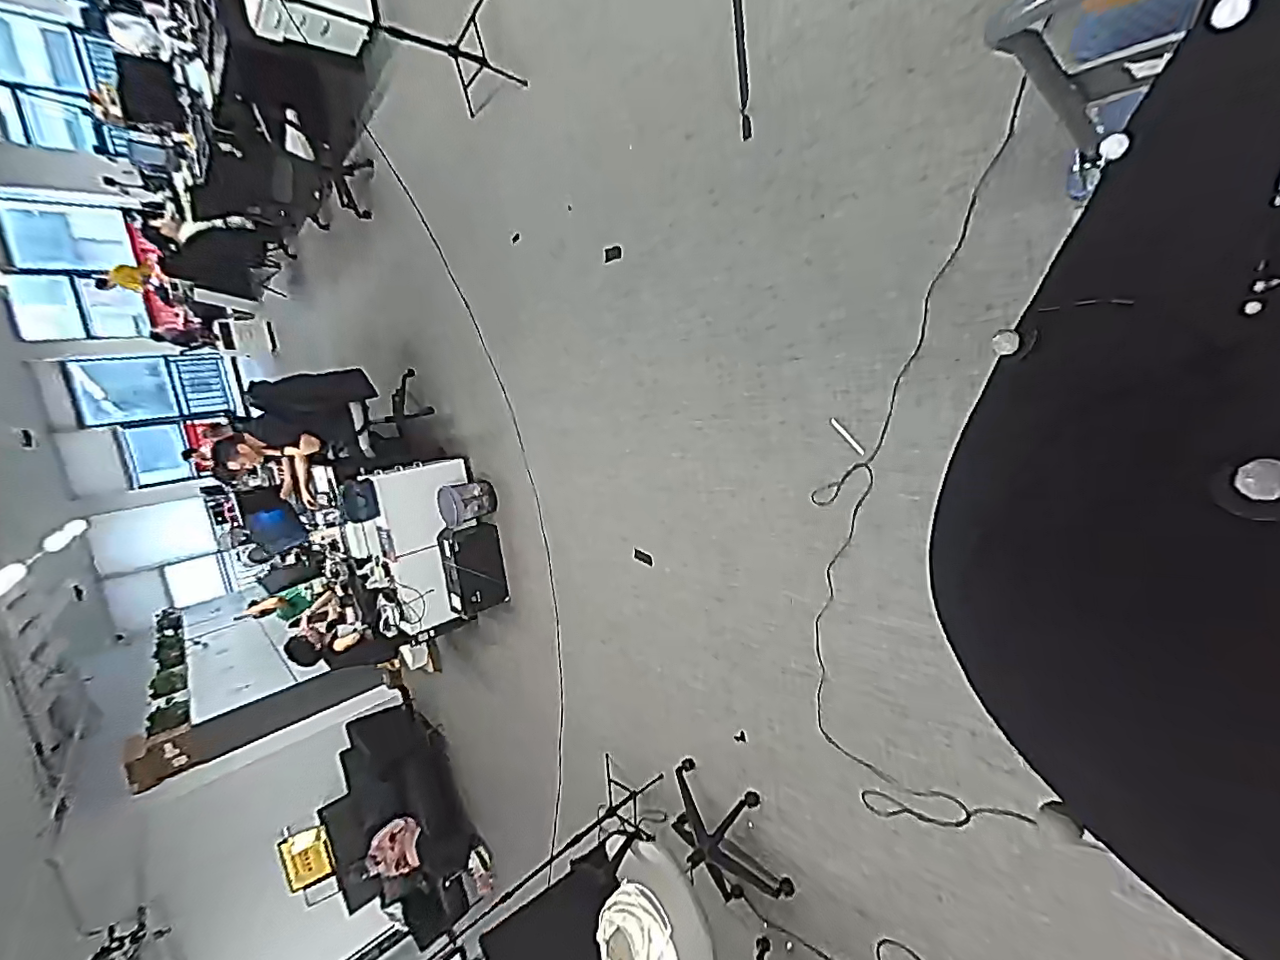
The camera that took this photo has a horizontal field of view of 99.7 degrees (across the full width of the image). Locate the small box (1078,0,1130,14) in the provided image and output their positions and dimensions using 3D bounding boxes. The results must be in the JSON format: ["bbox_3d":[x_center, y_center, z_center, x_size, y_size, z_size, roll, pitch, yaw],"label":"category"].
[{"bbox_3d":[0.752,-0.833,0.787,0.179,0.176,0.168,11,110,44],"label":"small box"}]
